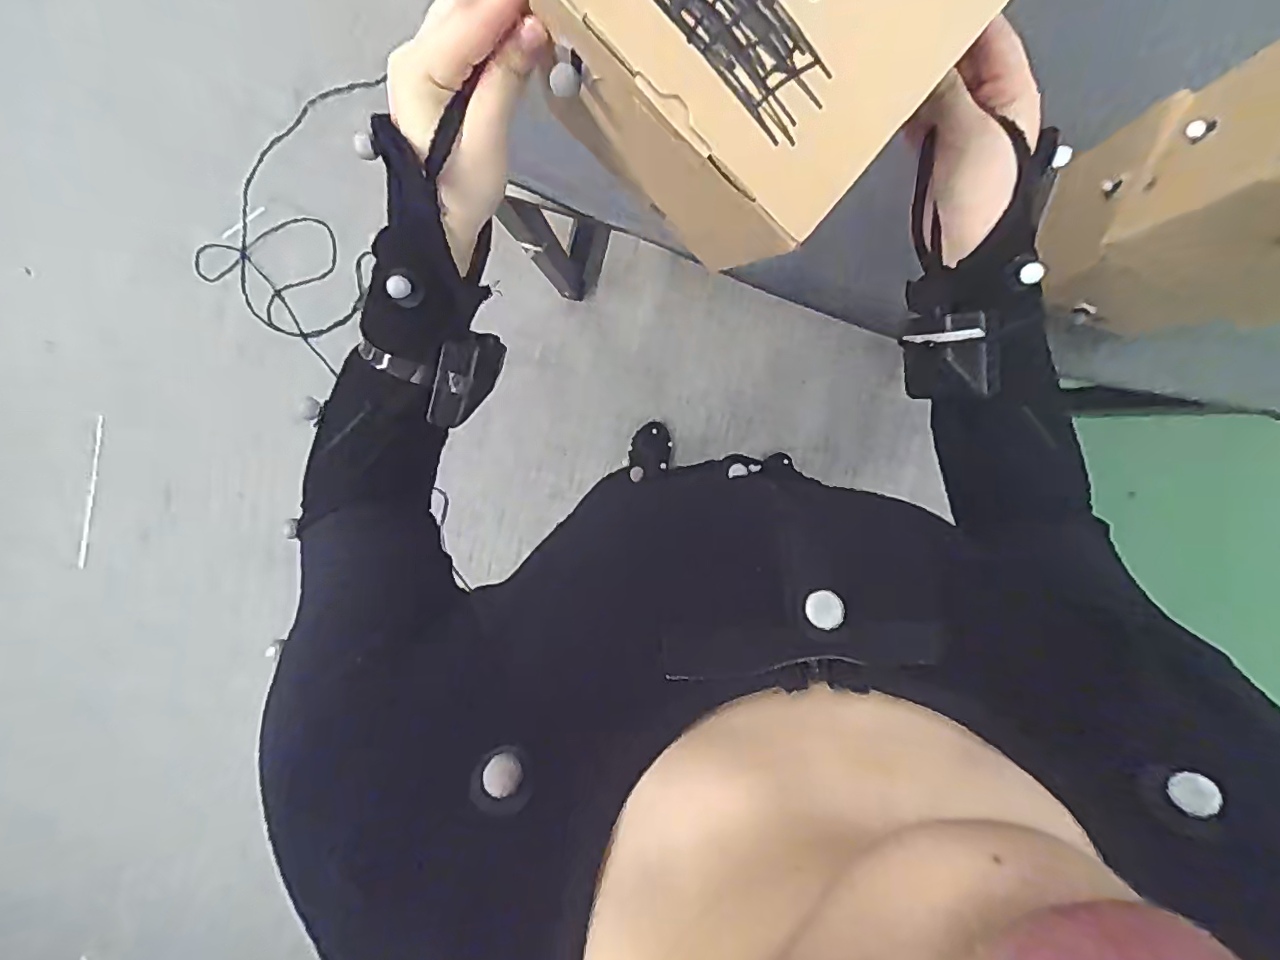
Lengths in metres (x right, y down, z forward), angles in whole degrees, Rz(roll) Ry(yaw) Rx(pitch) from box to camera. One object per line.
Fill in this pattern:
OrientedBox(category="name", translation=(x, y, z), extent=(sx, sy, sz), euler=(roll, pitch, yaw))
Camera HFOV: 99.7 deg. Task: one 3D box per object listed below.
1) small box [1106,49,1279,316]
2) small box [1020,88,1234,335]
OrientedBox(category="small box", translation=(0.569, -0.256, 0.453), extent=(0.179, 0.176, 0.168), euler=(28, 95, 1))
OrientedBox(category="small box", translation=(0.582, -0.284, 0.613), extent=(0.168, 0.176, 0.179), euler=(18, 96, 2))
